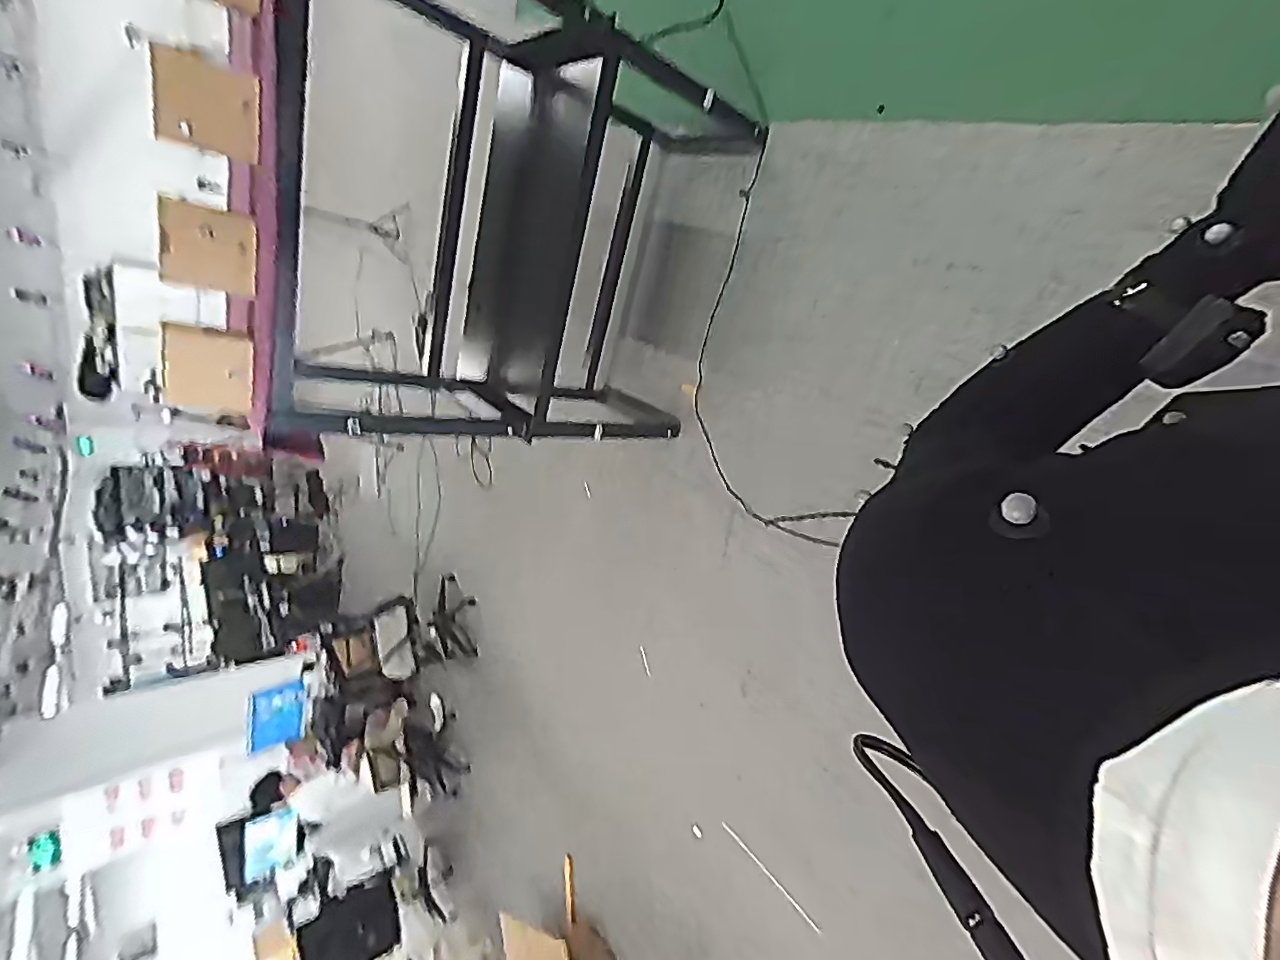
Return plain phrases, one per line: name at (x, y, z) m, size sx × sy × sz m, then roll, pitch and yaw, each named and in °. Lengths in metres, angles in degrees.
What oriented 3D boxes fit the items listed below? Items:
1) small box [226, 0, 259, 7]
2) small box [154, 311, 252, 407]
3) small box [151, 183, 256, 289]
small box at (-0.819, -1.035, 1.016) m, size 0.168 × 0.176 × 0.179 m, roll 35°, pitch 116°, yaw 42°
small box at (-1.034, -0.283, 1.281) m, size 0.168 × 0.176 × 0.179 m, roll 31°, pitch 113°, yaw 43°
small box at (-0.964, -0.534, 1.197) m, size 0.179 × 0.176 × 0.168 m, roll 37°, pitch 117°, yaw 41°
